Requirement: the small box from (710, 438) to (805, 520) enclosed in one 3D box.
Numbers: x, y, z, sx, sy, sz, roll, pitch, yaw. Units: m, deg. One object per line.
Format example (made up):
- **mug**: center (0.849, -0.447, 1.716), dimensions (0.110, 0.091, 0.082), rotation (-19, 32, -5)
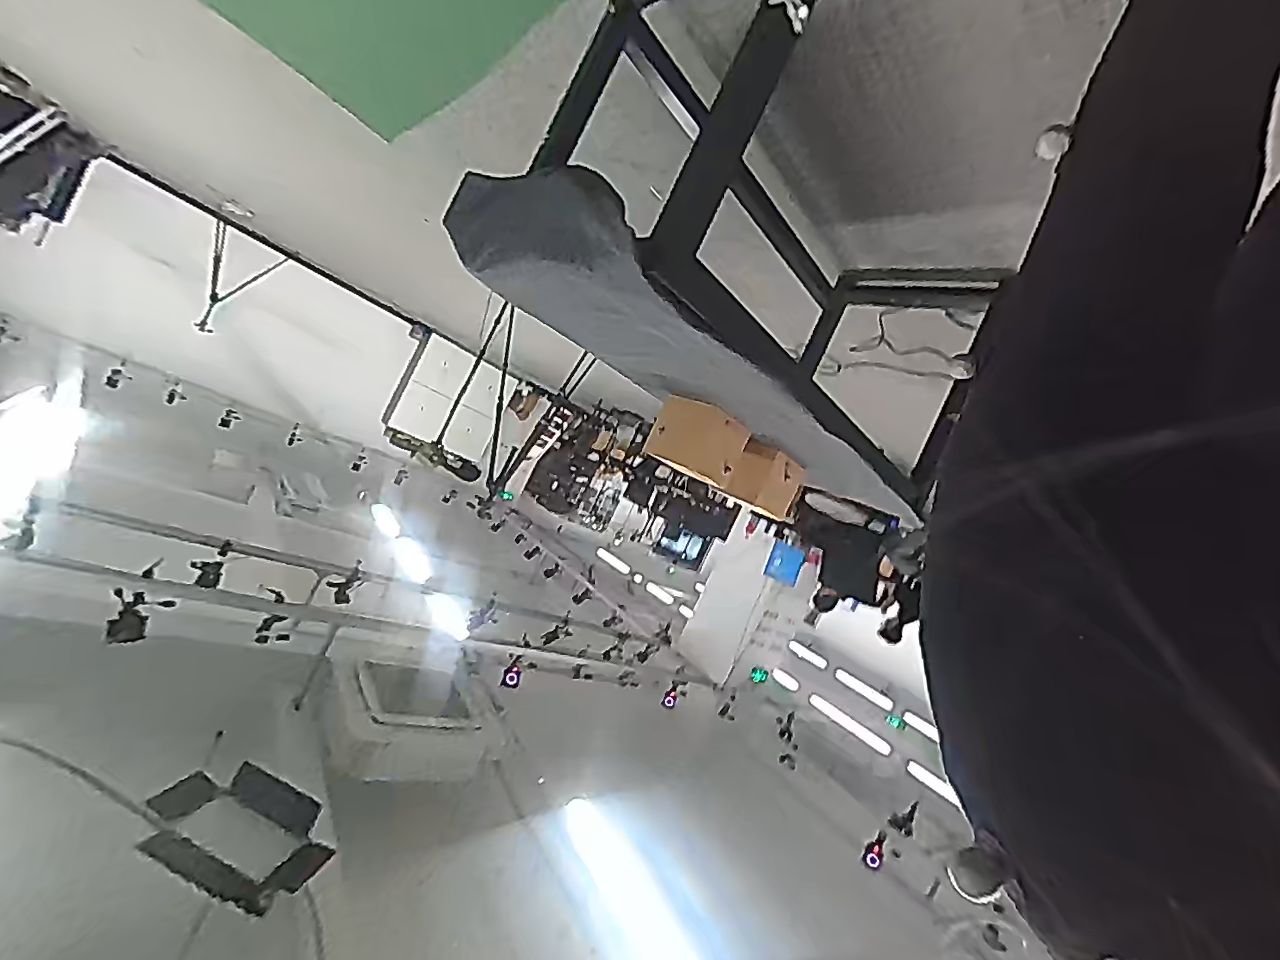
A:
- **small box**: center (0.344, -0.007, 1.572), dimensions (0.168, 0.176, 0.179), rotation (26, 178, -42)
